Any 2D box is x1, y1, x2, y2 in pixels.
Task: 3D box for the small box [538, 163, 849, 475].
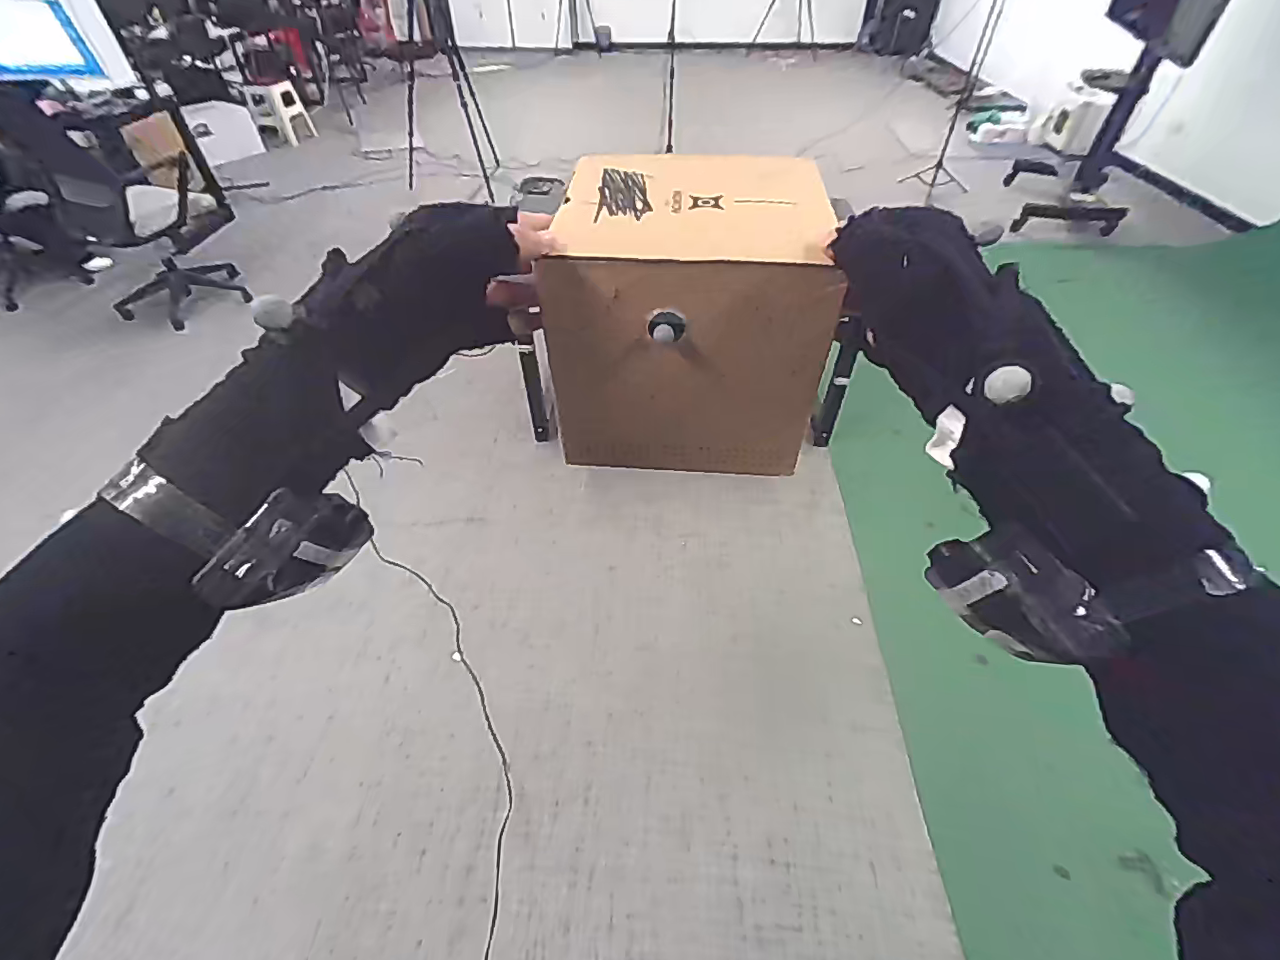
[{"bbox_3d":[0.037,-0.119,0.409,0.179,0.176,0.168,4,48,4],"label":"small box"}]
